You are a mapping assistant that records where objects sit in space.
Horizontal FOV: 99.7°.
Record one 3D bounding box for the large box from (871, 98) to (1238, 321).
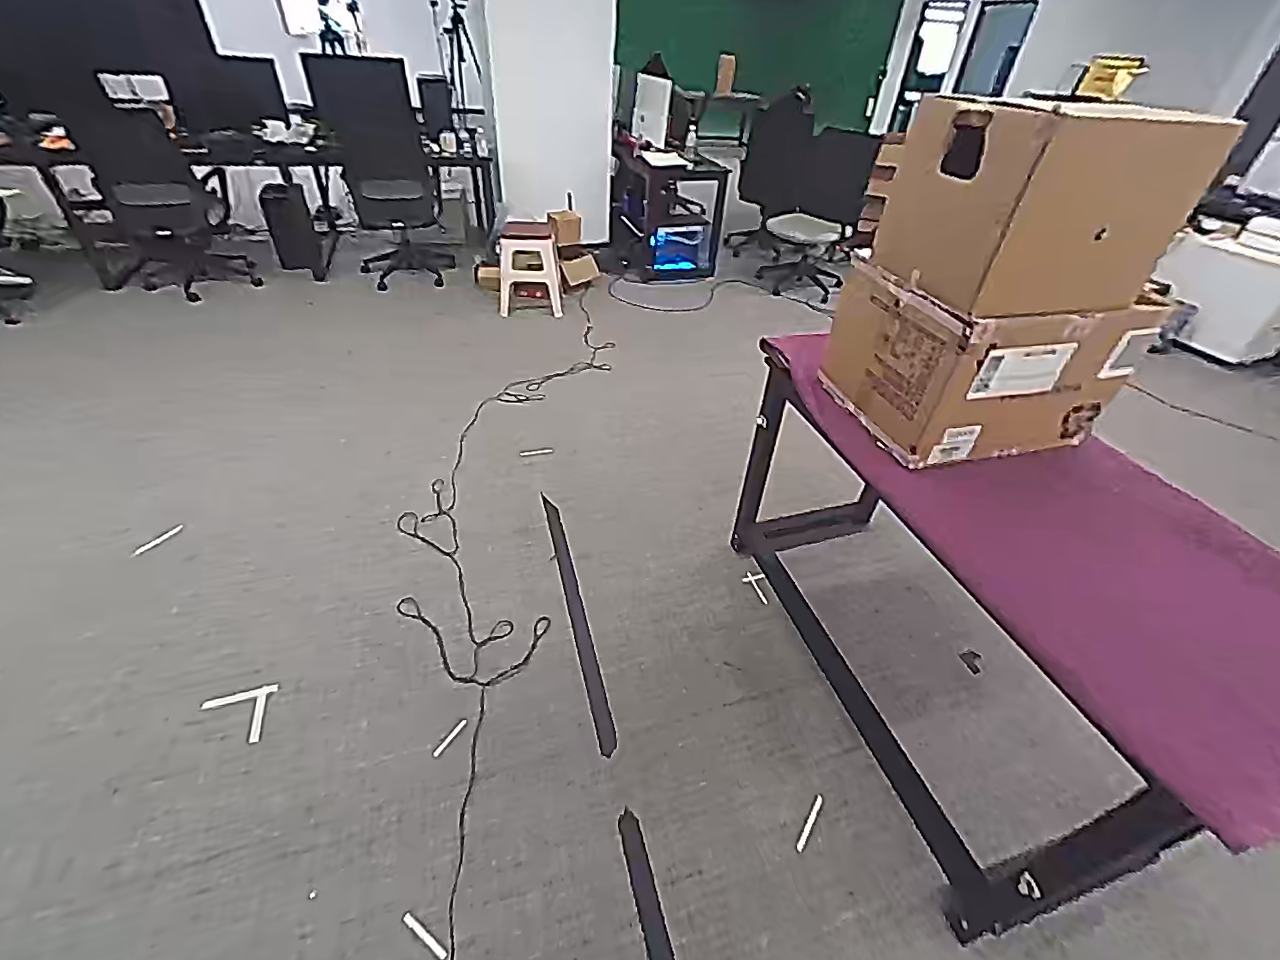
[{"bbox_3d":[0.739,-0.521,1.029,0.408,0.320,0.320,-9,40,-15],"label":"large box"}]
